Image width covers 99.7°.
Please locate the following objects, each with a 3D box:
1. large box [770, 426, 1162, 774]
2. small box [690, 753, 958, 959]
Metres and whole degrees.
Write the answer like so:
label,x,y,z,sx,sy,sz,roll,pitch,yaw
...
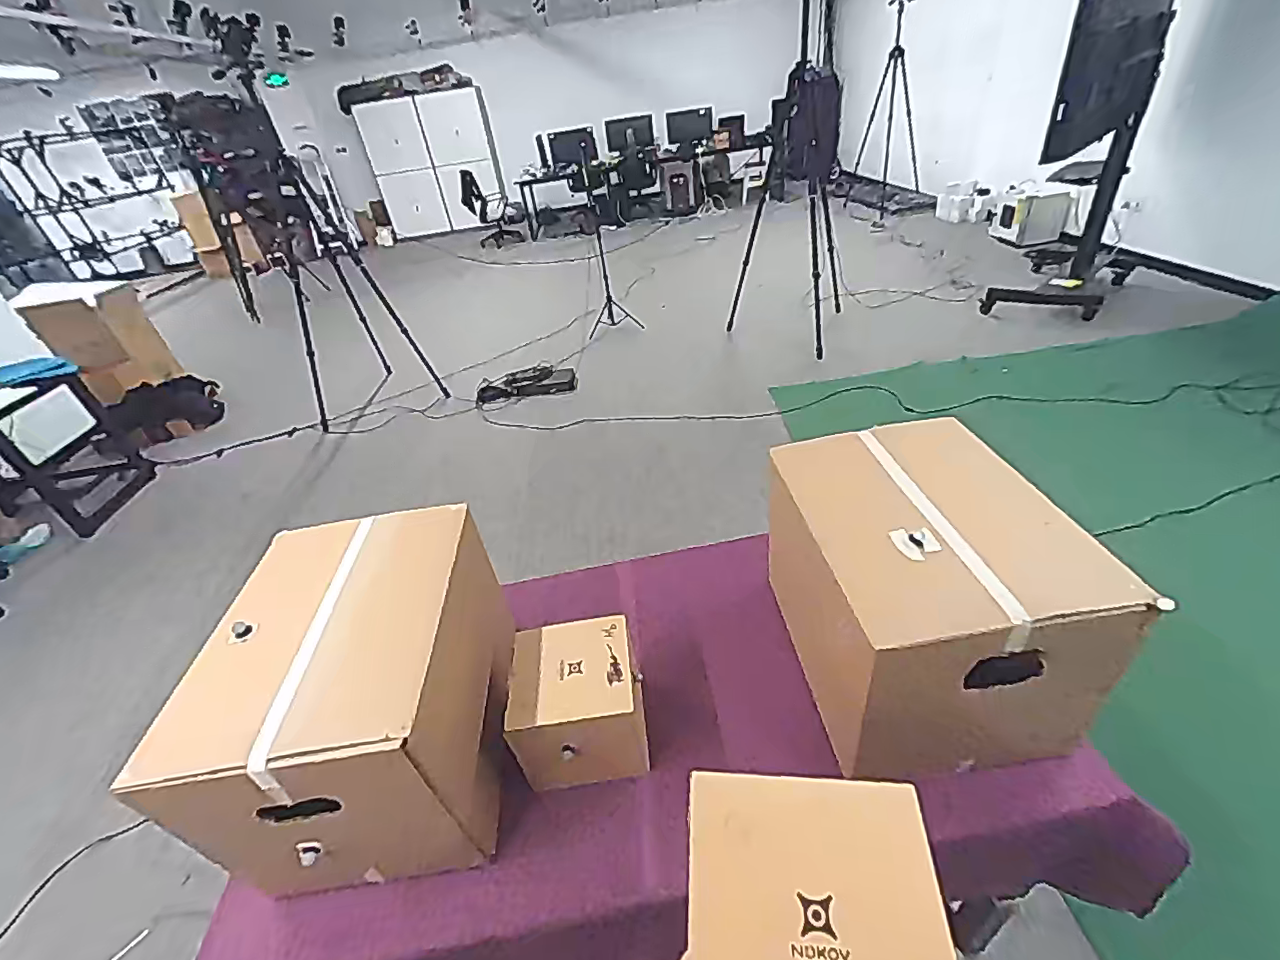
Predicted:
label,x,y,z,sx,sy,sz,roll,pitch,yaw
large box,0.407,0.164,0.822,0.320,0.320,0.408,-9,36,0
small box,0.124,0.337,0.419,0.168,0.176,0.179,1,46,6
